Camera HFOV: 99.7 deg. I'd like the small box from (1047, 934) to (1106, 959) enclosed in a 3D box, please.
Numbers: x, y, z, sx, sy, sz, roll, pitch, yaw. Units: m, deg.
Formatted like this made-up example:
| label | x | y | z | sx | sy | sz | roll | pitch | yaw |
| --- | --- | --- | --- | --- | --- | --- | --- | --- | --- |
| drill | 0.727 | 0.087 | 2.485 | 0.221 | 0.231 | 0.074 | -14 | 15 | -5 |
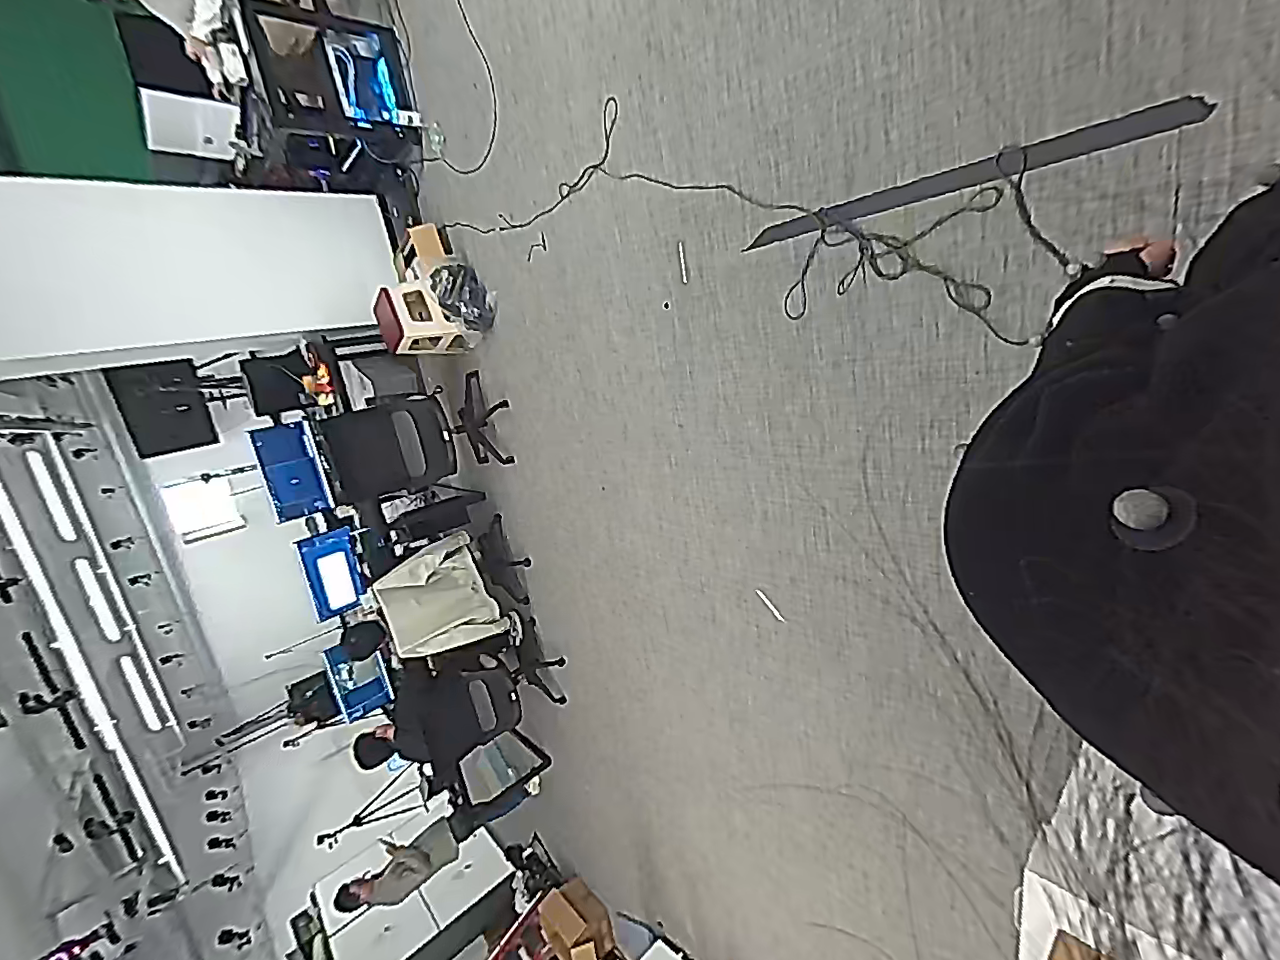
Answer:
| label | x | y | z | sx | sy | sz | roll | pitch | yaw |
| --- | --- | --- | --- | --- | --- | --- | --- | --- | --- |
| small box | 0.752 | 0.913 | 0.881 | 0.168 | 0.176 | 0.179 | 11 | 114 | 48 |
